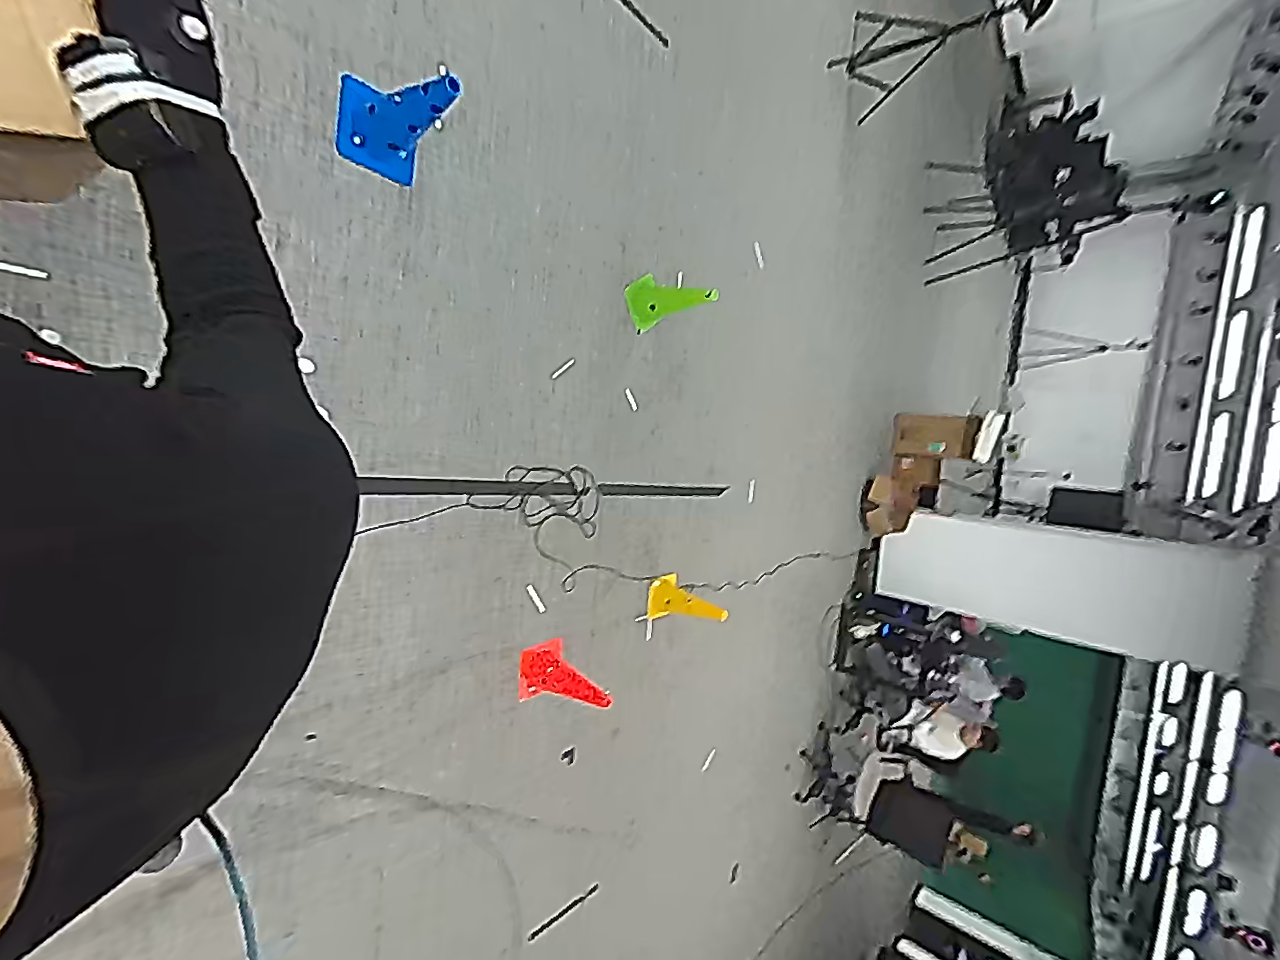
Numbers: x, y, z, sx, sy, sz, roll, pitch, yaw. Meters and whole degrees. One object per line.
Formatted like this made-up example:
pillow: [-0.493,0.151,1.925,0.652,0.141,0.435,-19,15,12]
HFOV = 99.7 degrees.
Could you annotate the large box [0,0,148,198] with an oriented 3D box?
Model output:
large box: [-0.605,-0.353,0.283,0.408,0.320,0.320,-27,121,-49]

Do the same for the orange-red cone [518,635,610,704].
orange-red cone: [-0.249,0.724,1.955,0.199,0.360,0.198,-4,100,-52]

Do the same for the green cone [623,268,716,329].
green cone: [0.146,-0.748,2.161,0.200,0.368,0.202,-48,129,-35]

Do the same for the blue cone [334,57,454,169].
blue cone: [-0.564,-0.909,1.295,0.193,0.380,0.192,6,91,-51]
